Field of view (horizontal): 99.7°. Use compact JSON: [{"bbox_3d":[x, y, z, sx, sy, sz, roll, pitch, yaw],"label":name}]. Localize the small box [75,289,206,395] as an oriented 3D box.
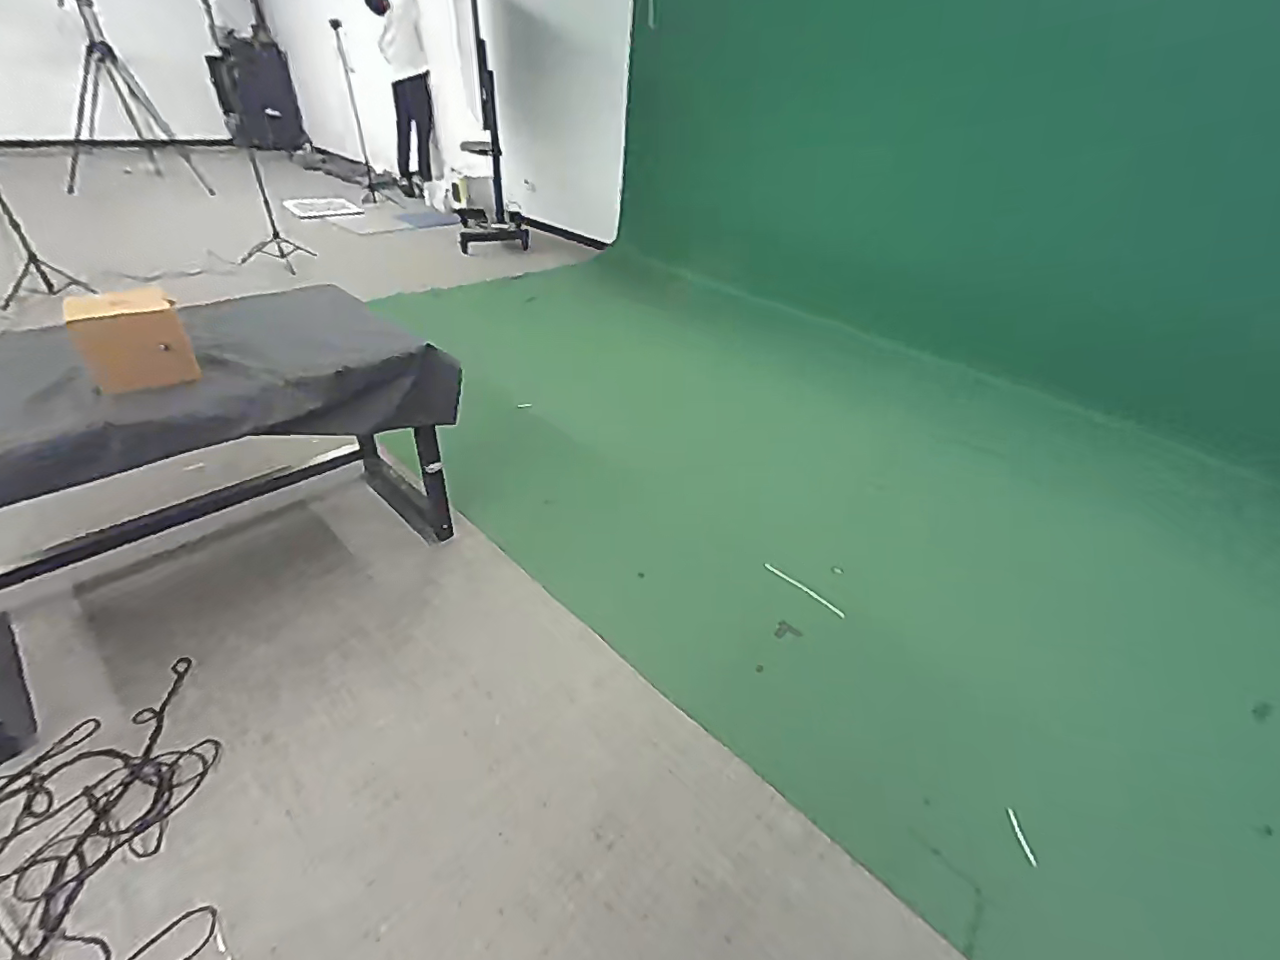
[{"bbox_3d":[-1.111,-0.312,1.214,0.179,0.176,0.168,-23,44,-33],"label":"small box"}]
